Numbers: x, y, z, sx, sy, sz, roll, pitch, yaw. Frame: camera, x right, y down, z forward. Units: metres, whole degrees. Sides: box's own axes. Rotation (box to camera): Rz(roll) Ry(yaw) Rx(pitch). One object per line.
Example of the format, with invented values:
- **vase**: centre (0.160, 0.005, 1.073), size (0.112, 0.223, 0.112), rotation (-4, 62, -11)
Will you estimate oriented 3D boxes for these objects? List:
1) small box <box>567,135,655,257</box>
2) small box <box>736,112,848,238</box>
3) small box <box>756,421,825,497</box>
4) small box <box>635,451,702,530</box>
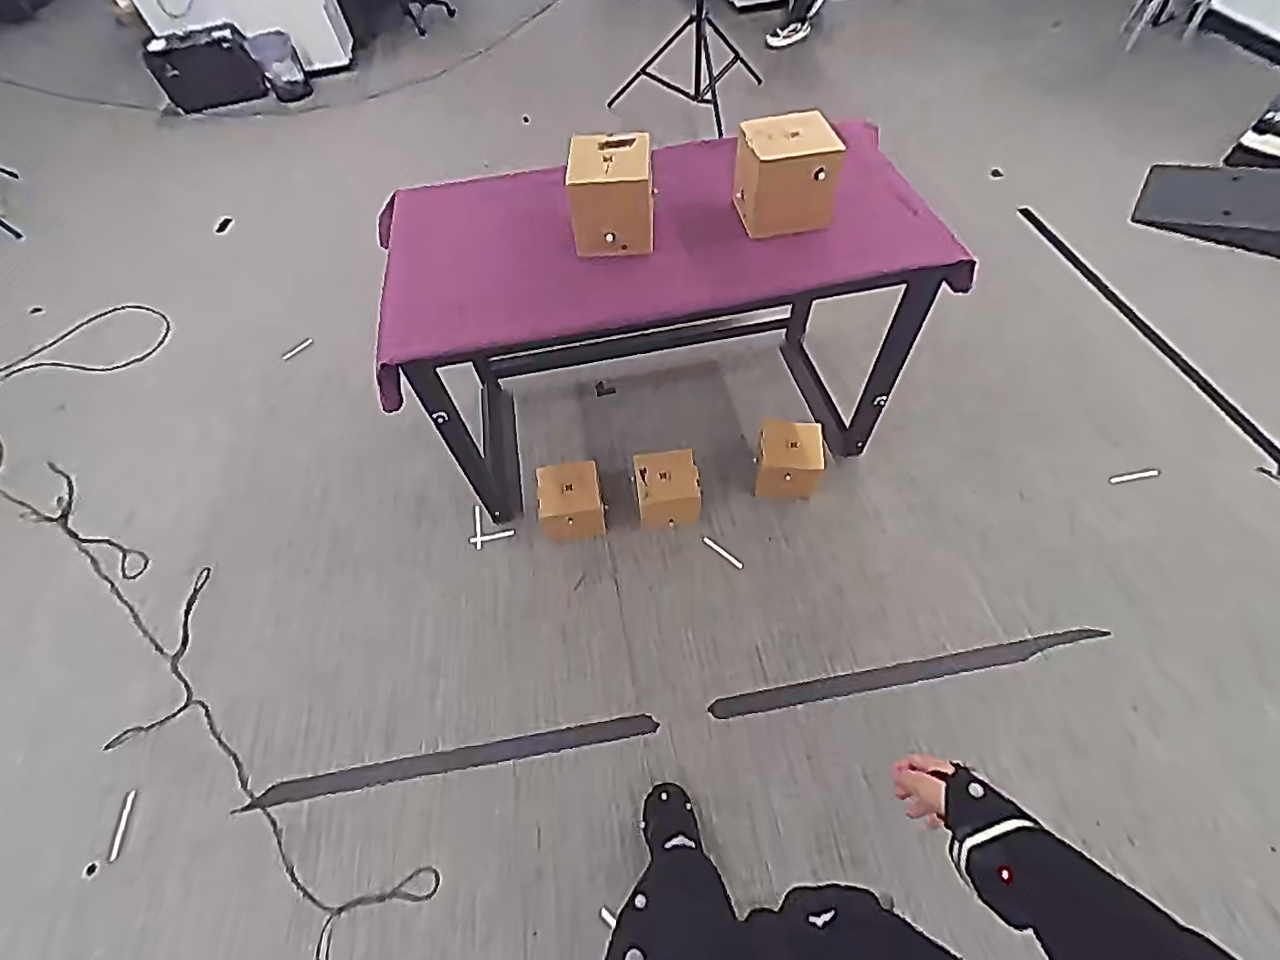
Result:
- **small box**: centre (-0.055, -0.603, 1.155), size (0.168, 0.176, 0.179), rotation (-1, 58, 4)
- **small box**: centre (0.312, -0.647, 1.154), size (0.179, 0.176, 0.168), rotation (-10, 57, -1)
- **small box**: centre (0.451, -0.059, 1.639), size (0.179, 0.176, 0.168), rotation (3, 59, 8)
- **small box**: centre (0.083, 0.033, 1.608), size (0.179, 0.176, 0.168), rotation (-7, 58, 0)
